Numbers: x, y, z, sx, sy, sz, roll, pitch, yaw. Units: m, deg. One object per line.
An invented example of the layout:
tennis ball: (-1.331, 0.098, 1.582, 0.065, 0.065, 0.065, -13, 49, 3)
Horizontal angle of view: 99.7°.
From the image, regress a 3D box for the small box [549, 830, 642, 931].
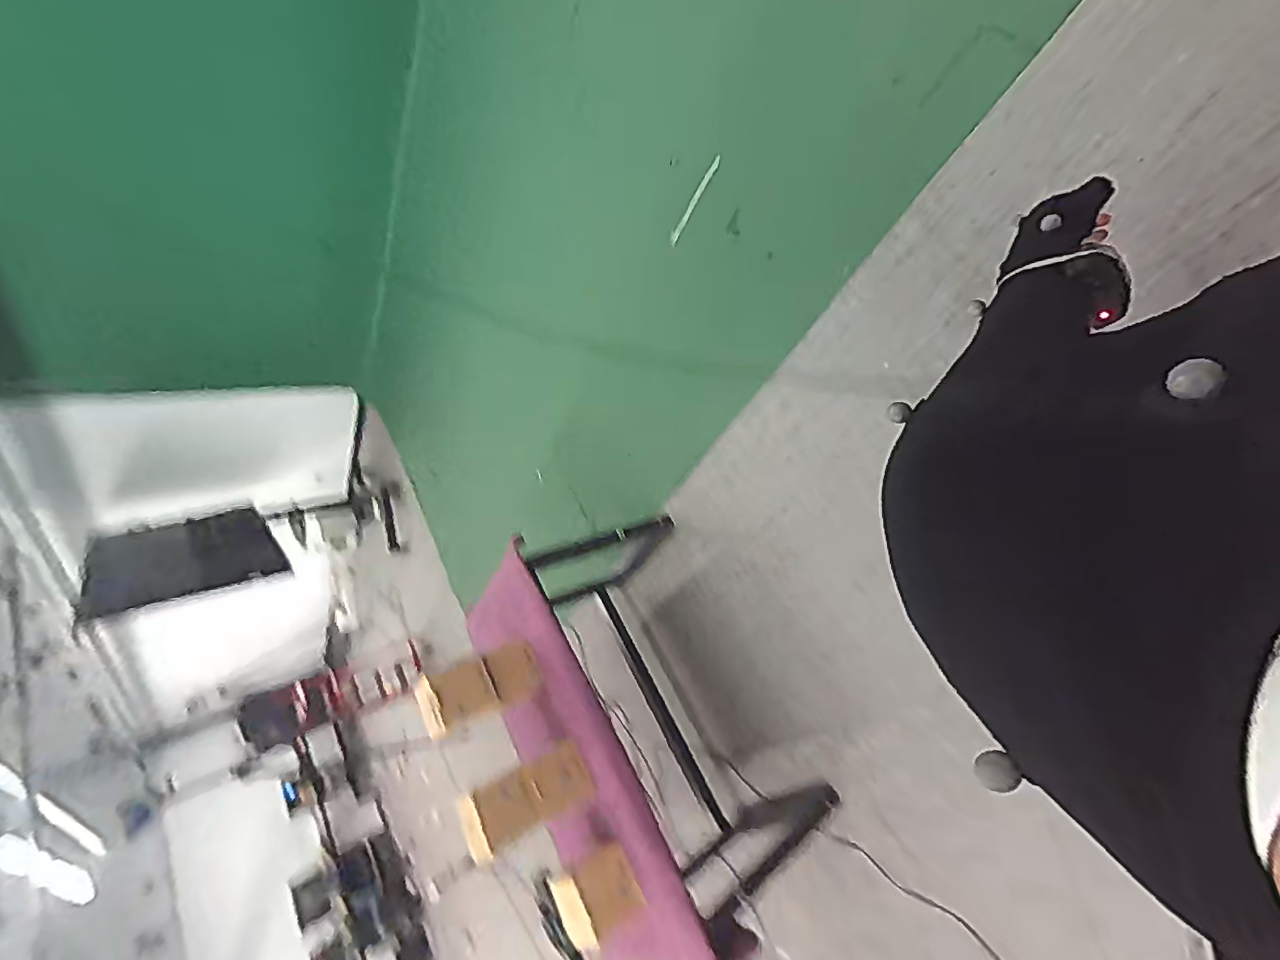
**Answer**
small box: (-0.125, 1.124, 1.526, 0.179, 0.176, 0.168, -47, 64, 44)

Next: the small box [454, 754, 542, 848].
small box: (-0.396, 0.900, 1.523, 0.179, 0.176, 0.168, -48, 64, 44)

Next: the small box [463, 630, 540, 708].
small box: (-0.443, 0.607, 1.748, 0.179, 0.176, 0.168, -46, 64, 44)

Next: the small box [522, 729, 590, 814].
small box: (-0.271, 0.877, 1.626, 0.179, 0.176, 0.168, -47, 64, 44)
